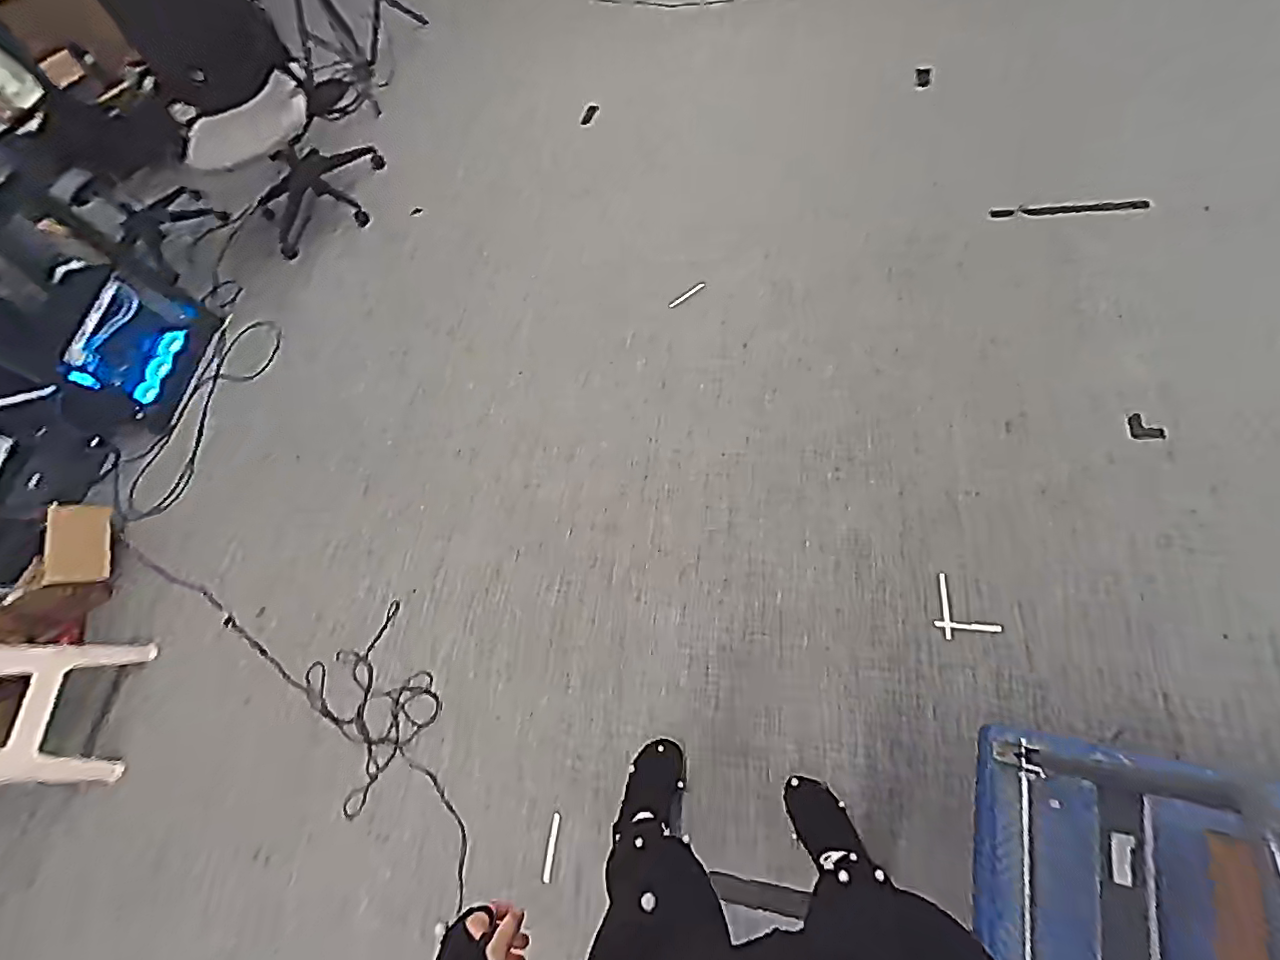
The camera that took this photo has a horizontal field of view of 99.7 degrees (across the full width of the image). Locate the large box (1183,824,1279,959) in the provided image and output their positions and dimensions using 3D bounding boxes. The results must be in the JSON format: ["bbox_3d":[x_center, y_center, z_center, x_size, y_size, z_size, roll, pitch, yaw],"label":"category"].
[{"bbox_3d":[0.977,0.715,0.668,0.320,0.320,0.408,7,68,17],"label":"large box"}]
